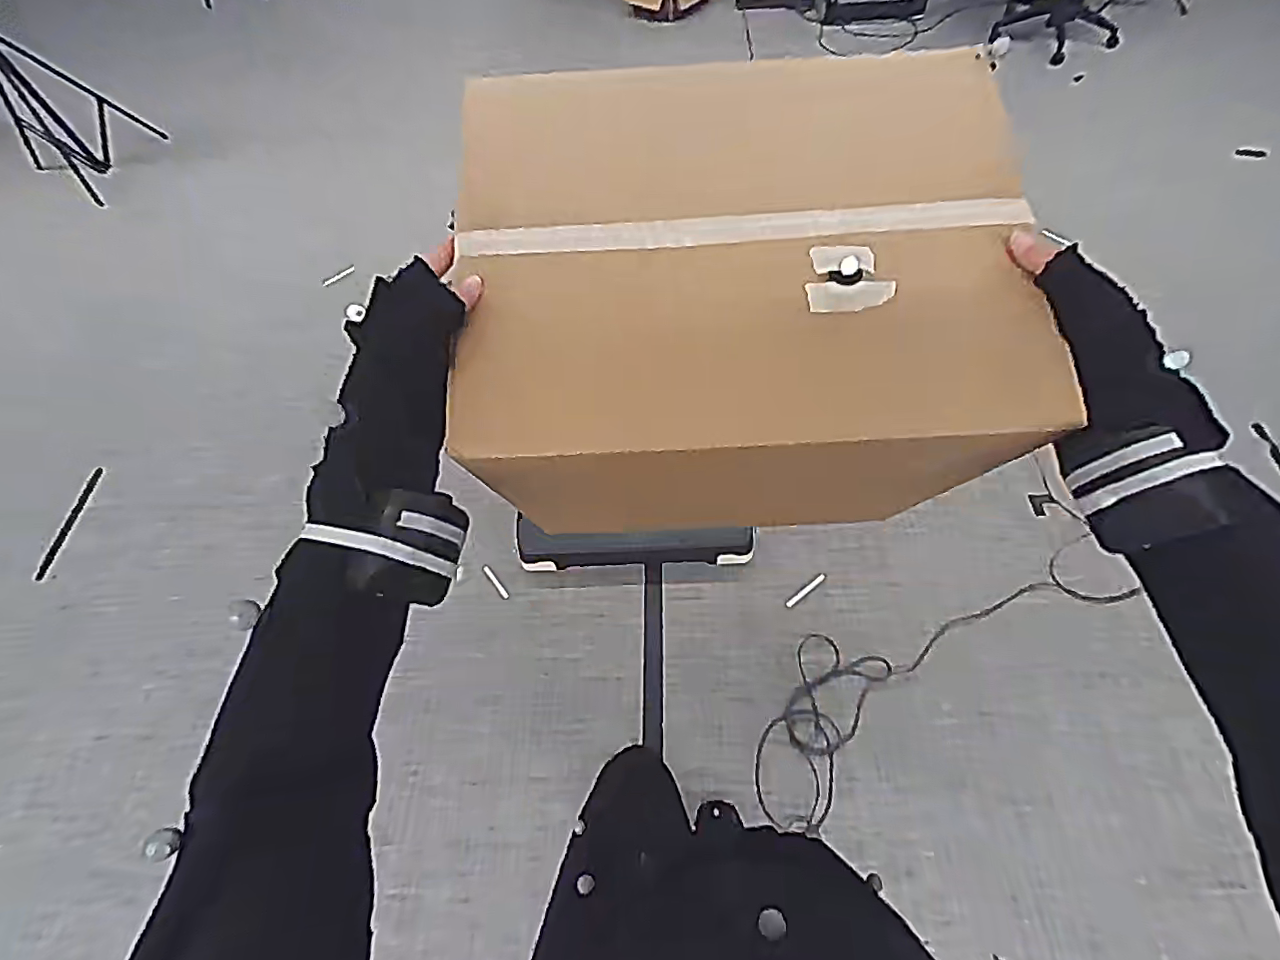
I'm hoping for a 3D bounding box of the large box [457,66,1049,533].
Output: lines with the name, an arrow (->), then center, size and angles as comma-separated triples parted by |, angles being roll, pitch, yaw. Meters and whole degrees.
large box -> 0.069, -0.134, 0.541 | 0.408, 0.320, 0.320 | -3, 76, 1
